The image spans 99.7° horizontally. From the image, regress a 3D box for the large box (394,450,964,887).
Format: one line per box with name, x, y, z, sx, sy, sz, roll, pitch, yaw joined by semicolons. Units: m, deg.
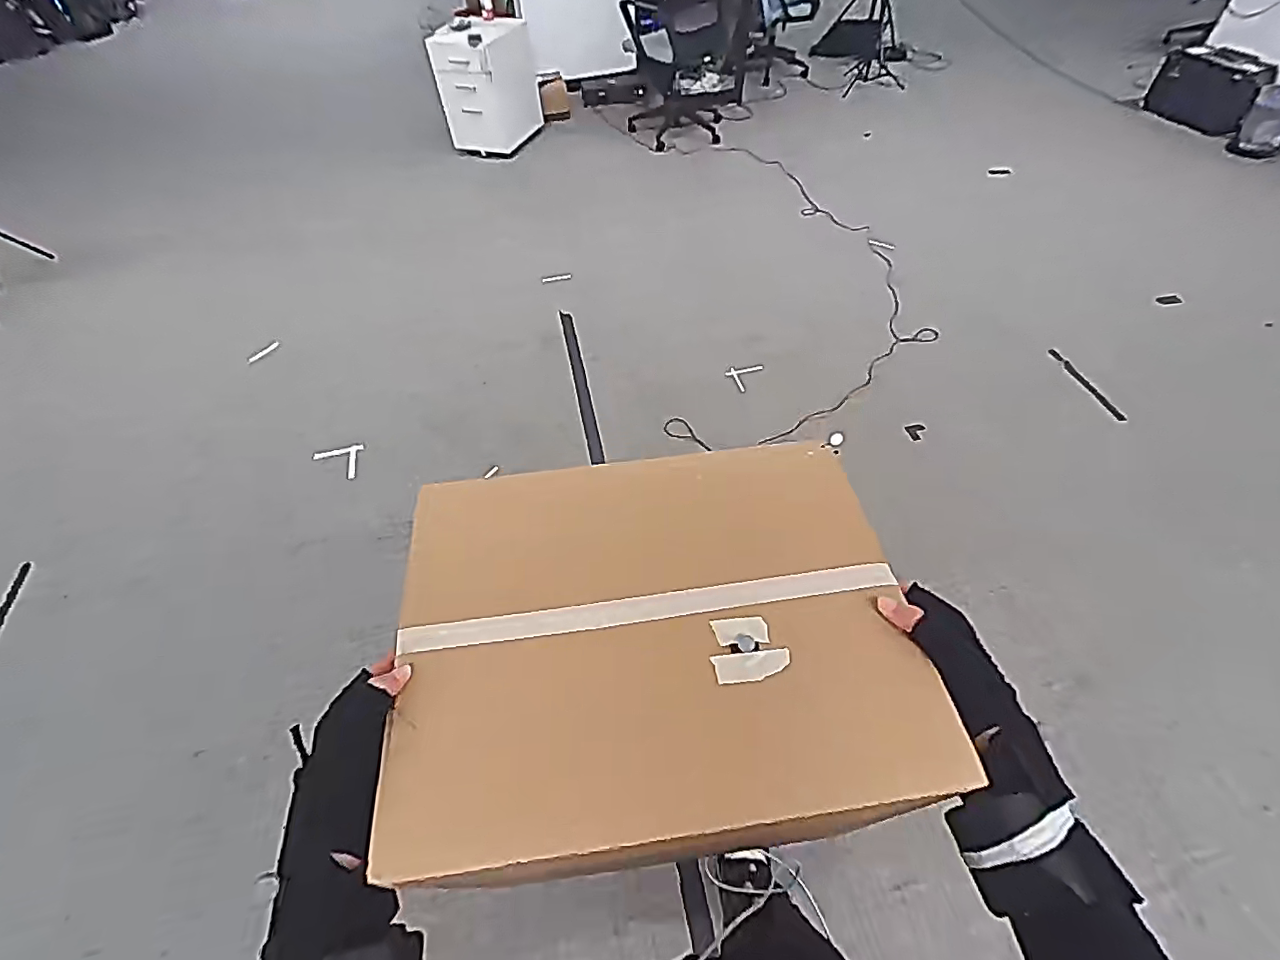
large box;0.014;0.203;0.570;0.408;0.320;0.320;-7;53;-4
